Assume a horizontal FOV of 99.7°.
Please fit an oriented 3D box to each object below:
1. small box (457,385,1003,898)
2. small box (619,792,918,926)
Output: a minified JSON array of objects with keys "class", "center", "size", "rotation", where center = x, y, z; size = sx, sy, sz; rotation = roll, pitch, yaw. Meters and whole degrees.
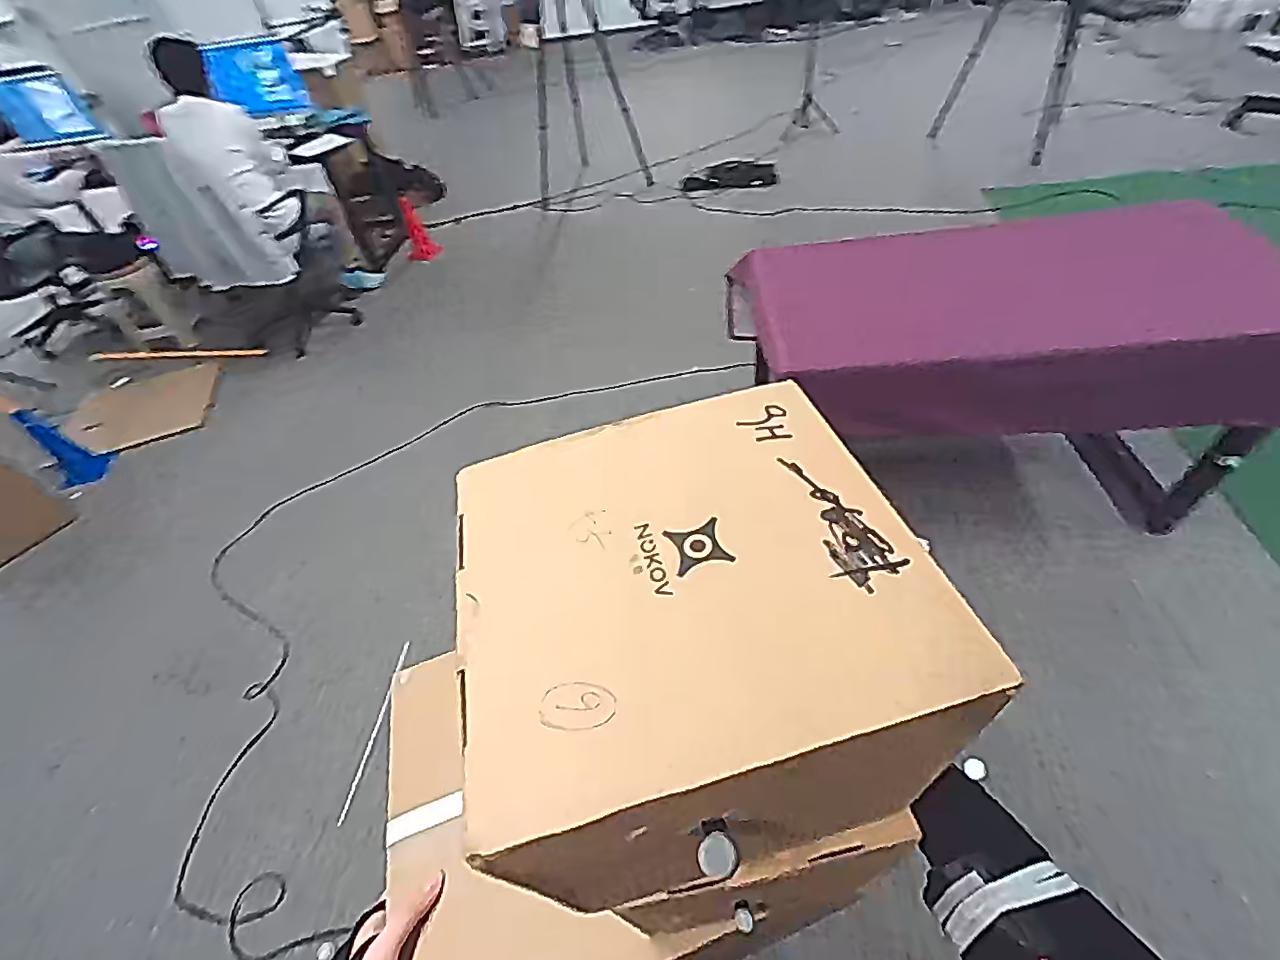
[{"class":"small box","center":[0.026,0.085,0.273],"size":[0.179,0.176,0.168],"rotation":[-16,48,-2]},{"class":"small box","center":[0.062,0.193,0.392],"size":[0.168,0.176,0.179],"rotation":[-12,47,0]}]
